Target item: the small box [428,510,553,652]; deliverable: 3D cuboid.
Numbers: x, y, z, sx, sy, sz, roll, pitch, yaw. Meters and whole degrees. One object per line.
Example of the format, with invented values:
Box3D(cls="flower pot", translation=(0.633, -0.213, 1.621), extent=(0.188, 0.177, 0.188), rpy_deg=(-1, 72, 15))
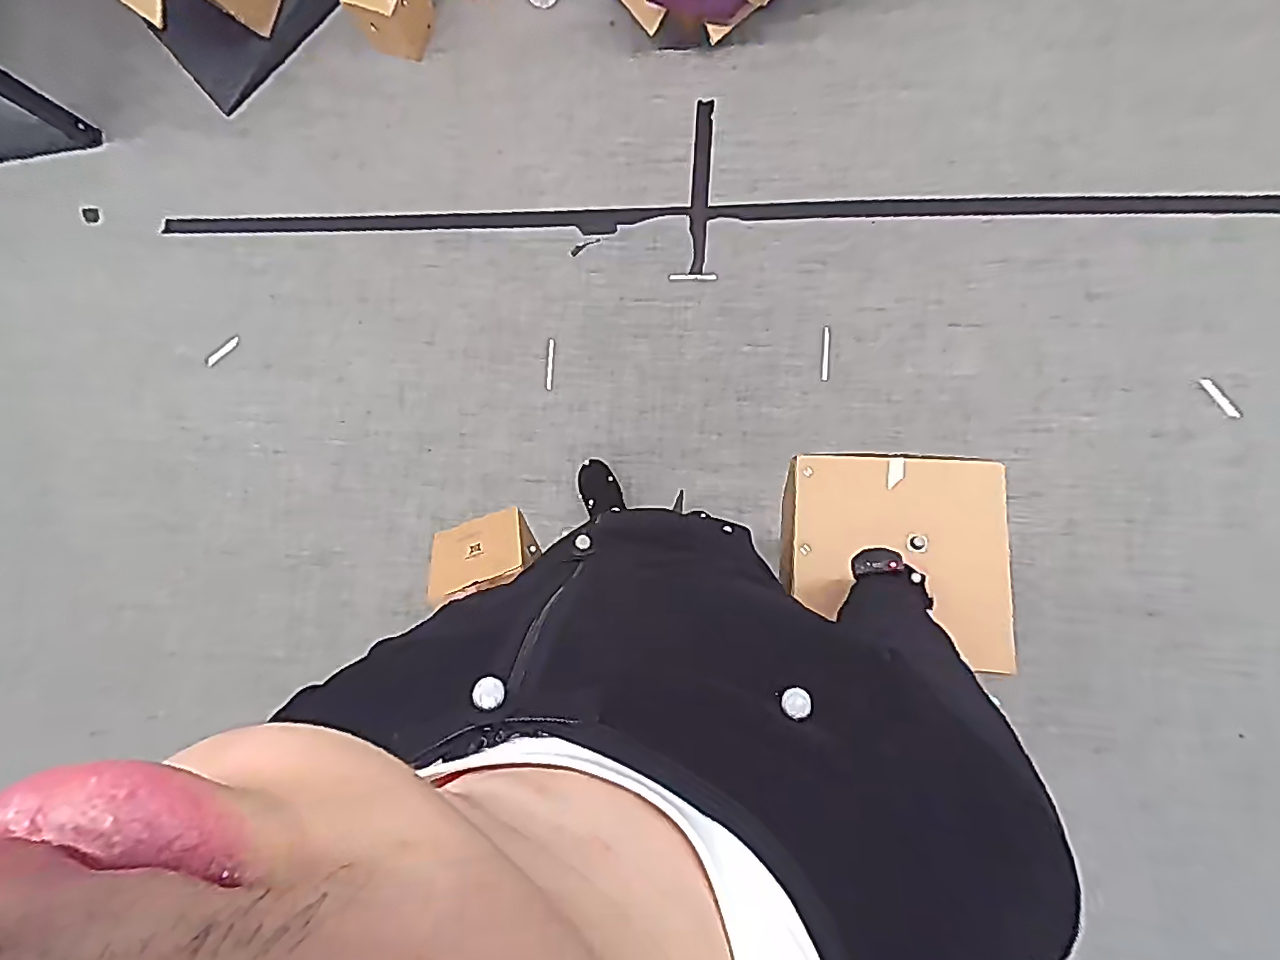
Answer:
Box3D(cls="small box", translation=(-0.268, 0.191, 0.998), extent=(0.168, 0.179, 0.176), rpy_deg=(-19, 124, -3))
